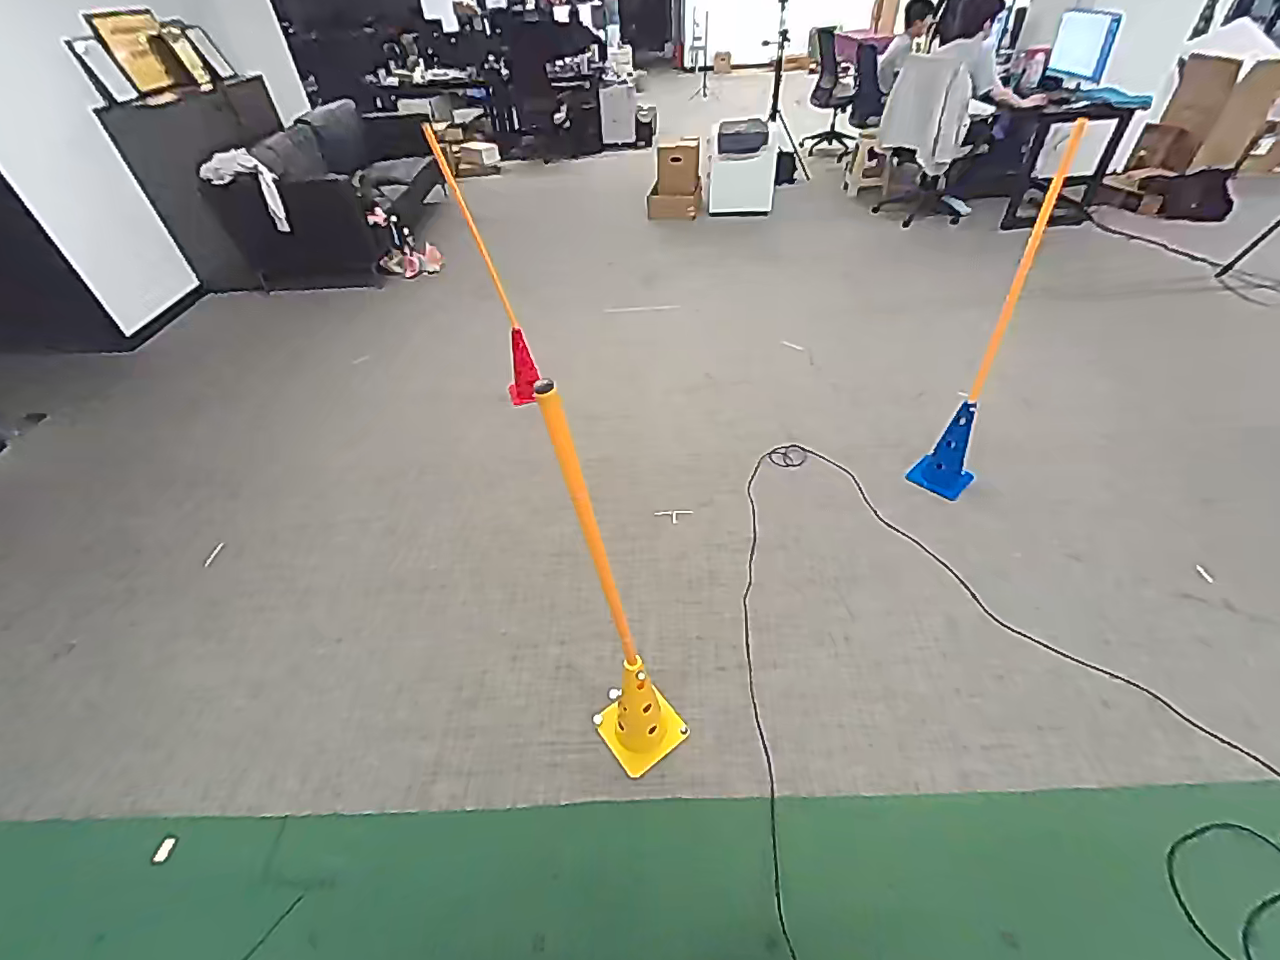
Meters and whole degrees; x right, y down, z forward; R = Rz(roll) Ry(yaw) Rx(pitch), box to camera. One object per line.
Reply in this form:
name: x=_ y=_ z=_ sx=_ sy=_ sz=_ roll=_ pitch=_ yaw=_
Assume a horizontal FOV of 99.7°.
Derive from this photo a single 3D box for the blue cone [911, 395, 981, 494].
blue cone: x=1.180 y=-0.151 z=2.029 sx=0.192 sy=0.380 sz=0.193 roll=32 pitch=52 yaw=33
